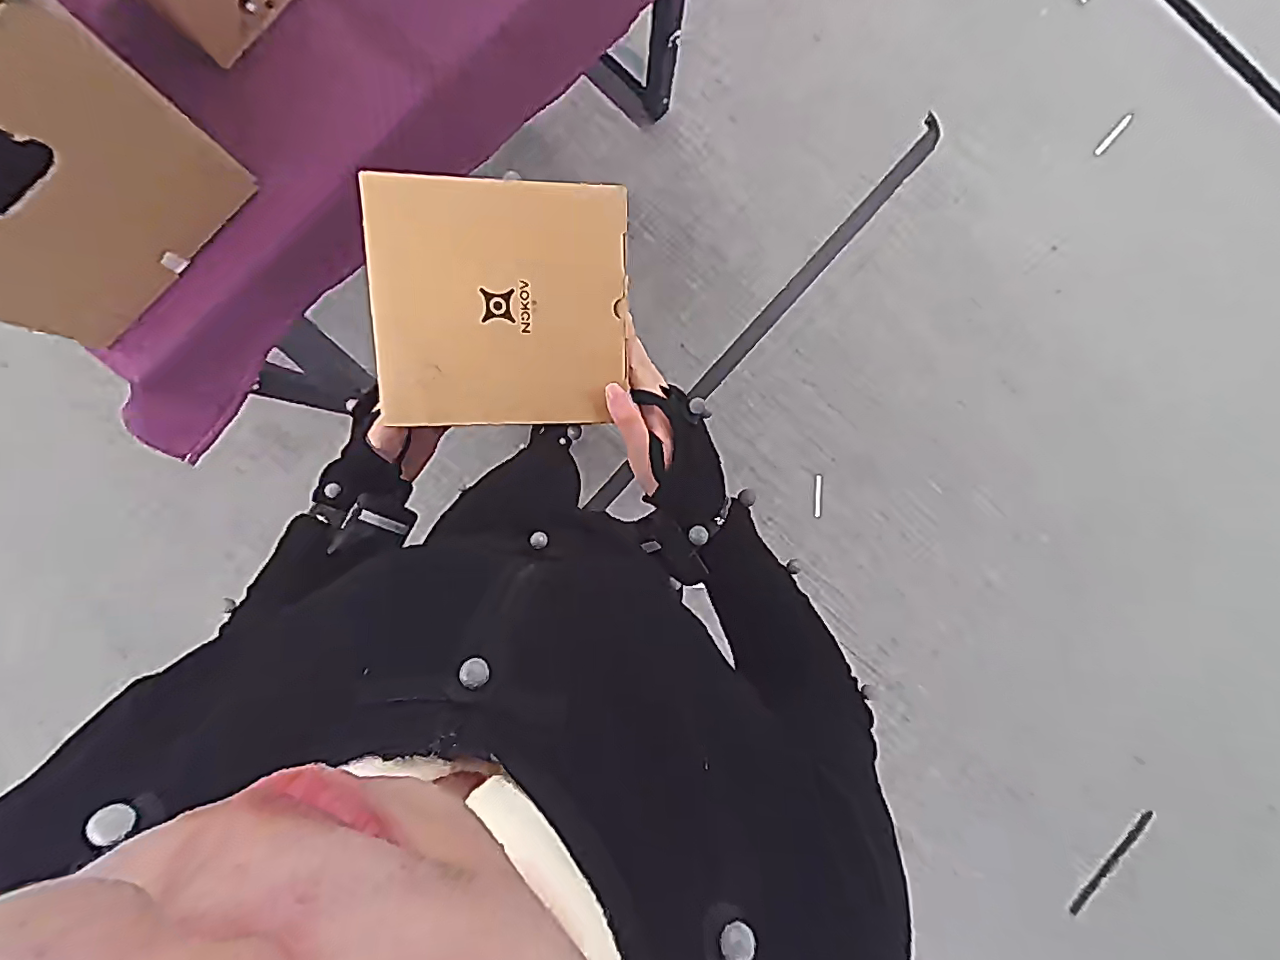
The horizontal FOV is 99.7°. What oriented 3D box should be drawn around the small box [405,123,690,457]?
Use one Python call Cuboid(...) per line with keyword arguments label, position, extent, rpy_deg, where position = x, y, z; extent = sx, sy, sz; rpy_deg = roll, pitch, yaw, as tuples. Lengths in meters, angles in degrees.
Cuboid(label="small box", position=(-0.079, -0.126, 0.419), extent=(0.168, 0.176, 0.179), rpy_deg=(-6, 83, -29))
